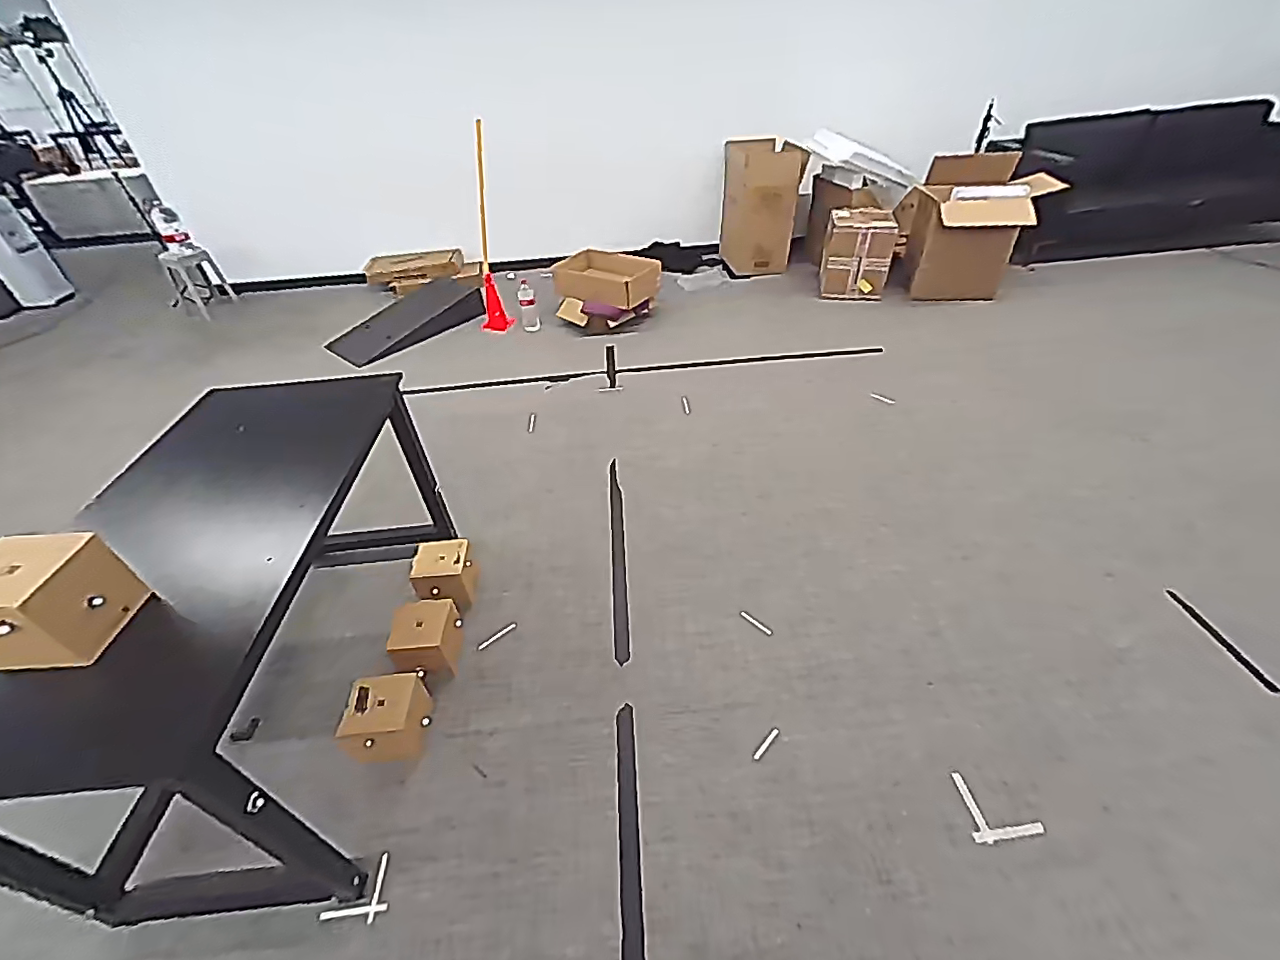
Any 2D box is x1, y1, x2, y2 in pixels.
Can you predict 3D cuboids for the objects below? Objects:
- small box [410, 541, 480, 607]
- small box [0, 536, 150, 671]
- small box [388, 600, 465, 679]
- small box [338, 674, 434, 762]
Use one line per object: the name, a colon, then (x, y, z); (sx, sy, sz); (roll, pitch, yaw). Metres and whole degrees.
small box: (-0.684, 0.340, 1.918); (0.179, 0.176, 0.168); (-6, 40, -1)
small box: (-1.043, 0.219, 0.956); (0.179, 0.176, 0.168); (-4, 39, 1)
small box: (-0.669, 0.509, 1.716); (0.168, 0.176, 0.179); (-7, 40, -1)
small box: (-0.704, 0.673, 1.520); (0.179, 0.176, 0.168); (-5, 40, -2)
